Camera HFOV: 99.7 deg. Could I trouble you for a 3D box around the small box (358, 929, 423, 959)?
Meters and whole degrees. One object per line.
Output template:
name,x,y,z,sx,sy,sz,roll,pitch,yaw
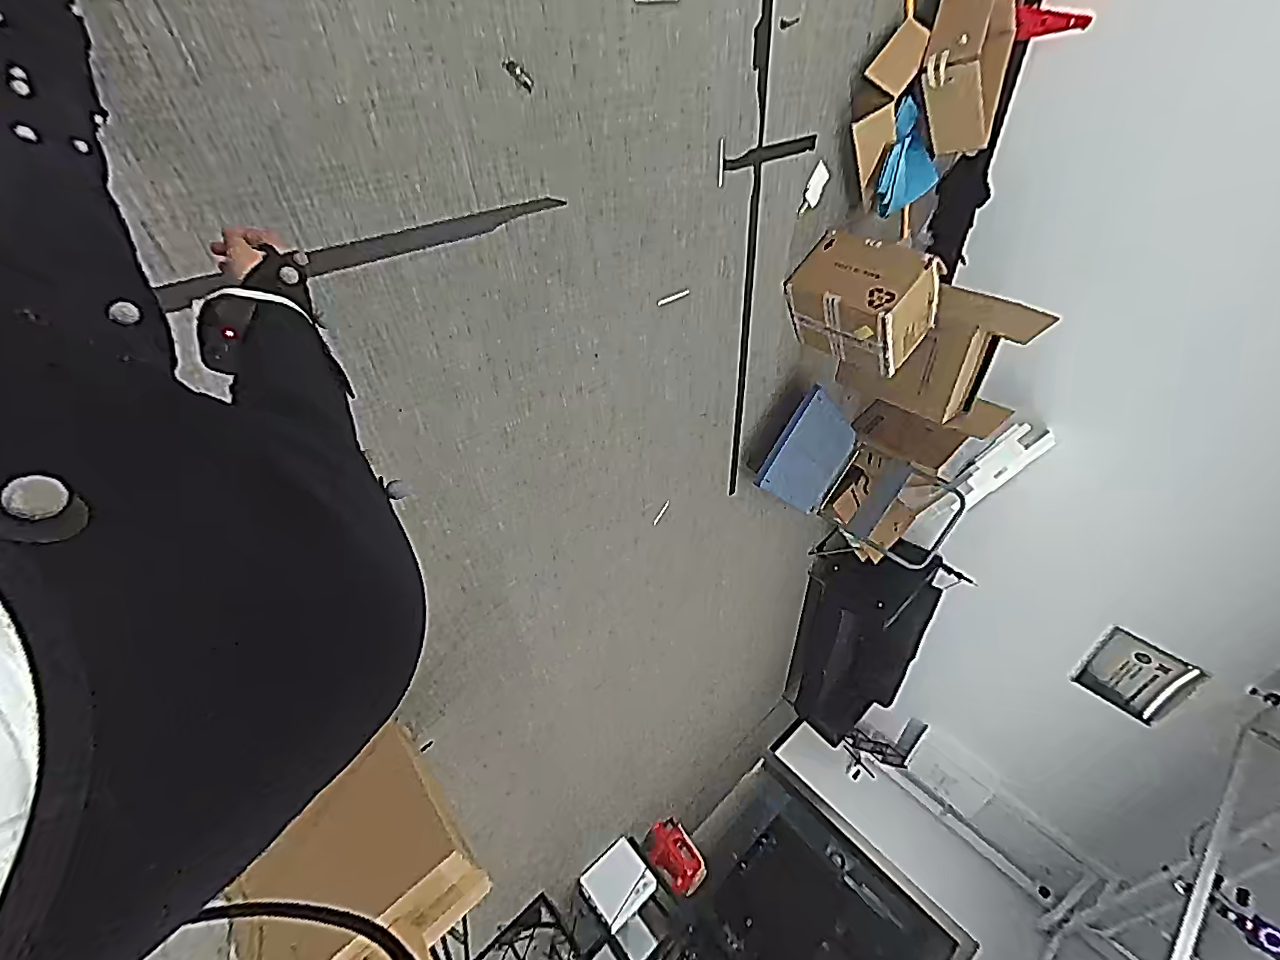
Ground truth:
small box,-0.646,1.303,1.380,0.168,0.176,0.179,-32,138,-30
